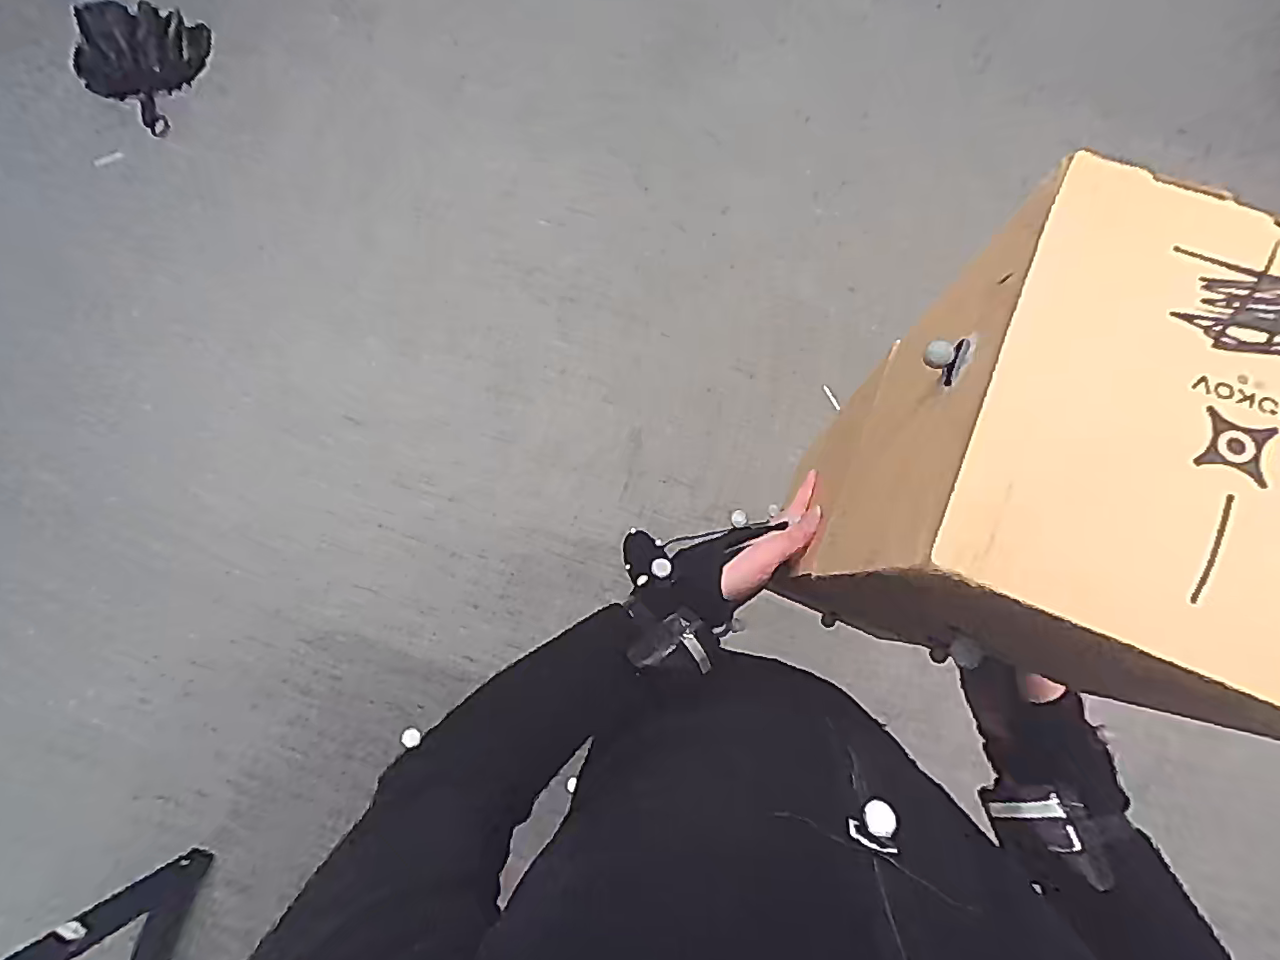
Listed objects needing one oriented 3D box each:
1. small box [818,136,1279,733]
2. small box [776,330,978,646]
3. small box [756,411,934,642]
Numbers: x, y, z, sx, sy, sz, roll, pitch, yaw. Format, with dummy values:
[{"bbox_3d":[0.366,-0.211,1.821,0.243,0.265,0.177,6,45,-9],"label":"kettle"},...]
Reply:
[{"bbox_3d":[0.205,-0.008,0.260,0.168,0.176,0.179,23,82,9],"label":"small box"},{"bbox_3d":[0.216,0.021,0.422,0.168,0.176,0.179,21,79,8],"label":"small box"},{"bbox_3d":[0.233,0.052,0.581,0.168,0.176,0.179,23,82,9],"label":"small box"}]
